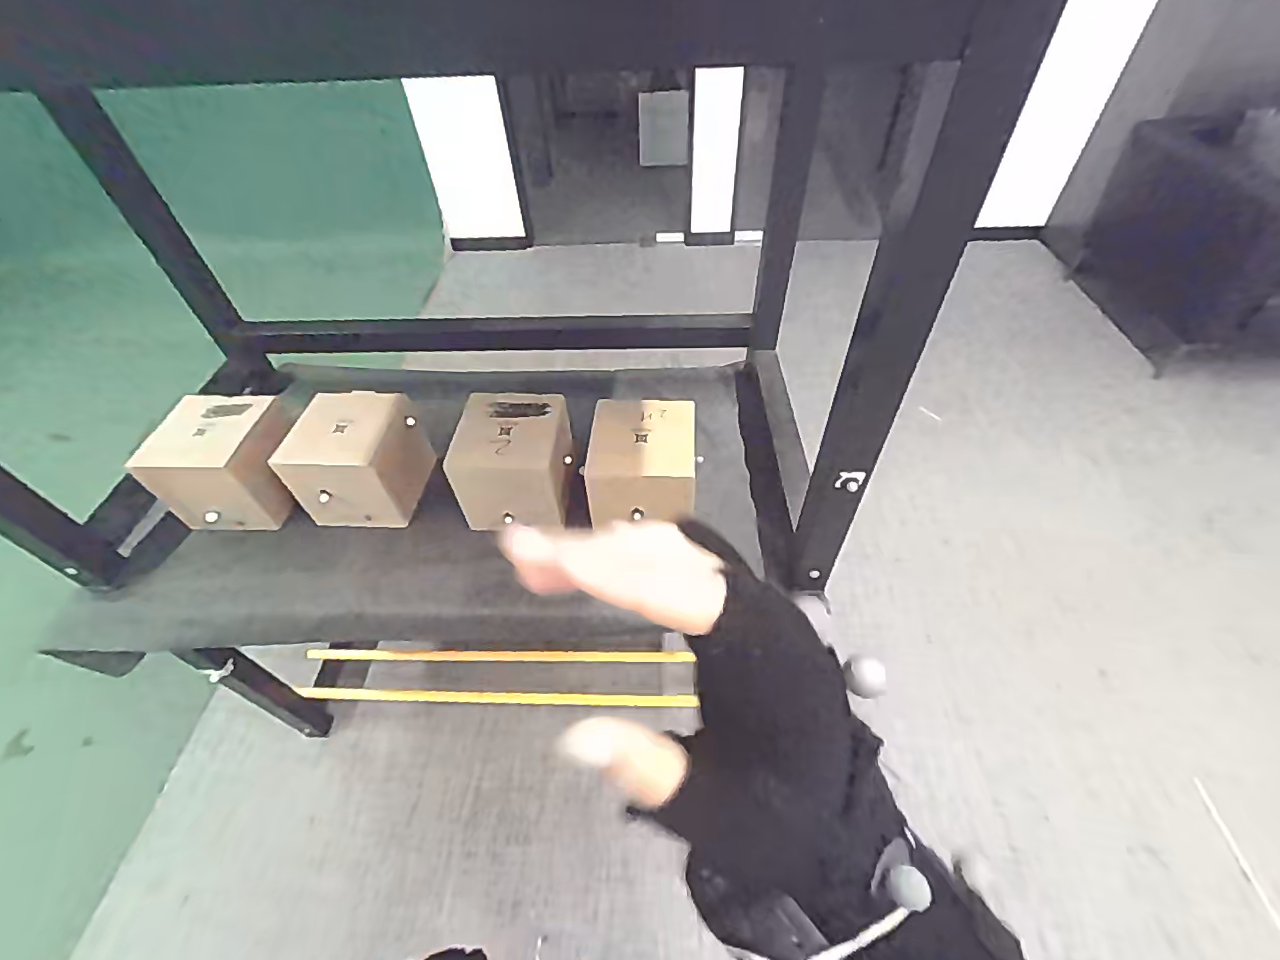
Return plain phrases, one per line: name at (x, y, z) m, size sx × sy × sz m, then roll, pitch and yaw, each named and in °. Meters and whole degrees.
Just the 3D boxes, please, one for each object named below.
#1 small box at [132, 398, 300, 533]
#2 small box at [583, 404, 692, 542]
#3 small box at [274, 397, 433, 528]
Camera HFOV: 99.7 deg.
small box at (-0.718, -0.026, 0.964) m, size 0.168 × 0.176 × 0.179 m, roll 0°, pitch 48°, yaw 2°
small box at (0.003, -0.010, 0.919) m, size 0.168 × 0.176 × 0.179 m, roll 2°, pitch 47°, yaw 4°
small box at (-0.491, -0.029, 0.961) m, size 0.168 × 0.176 × 0.179 m, roll 1°, pitch 48°, yaw 3°
